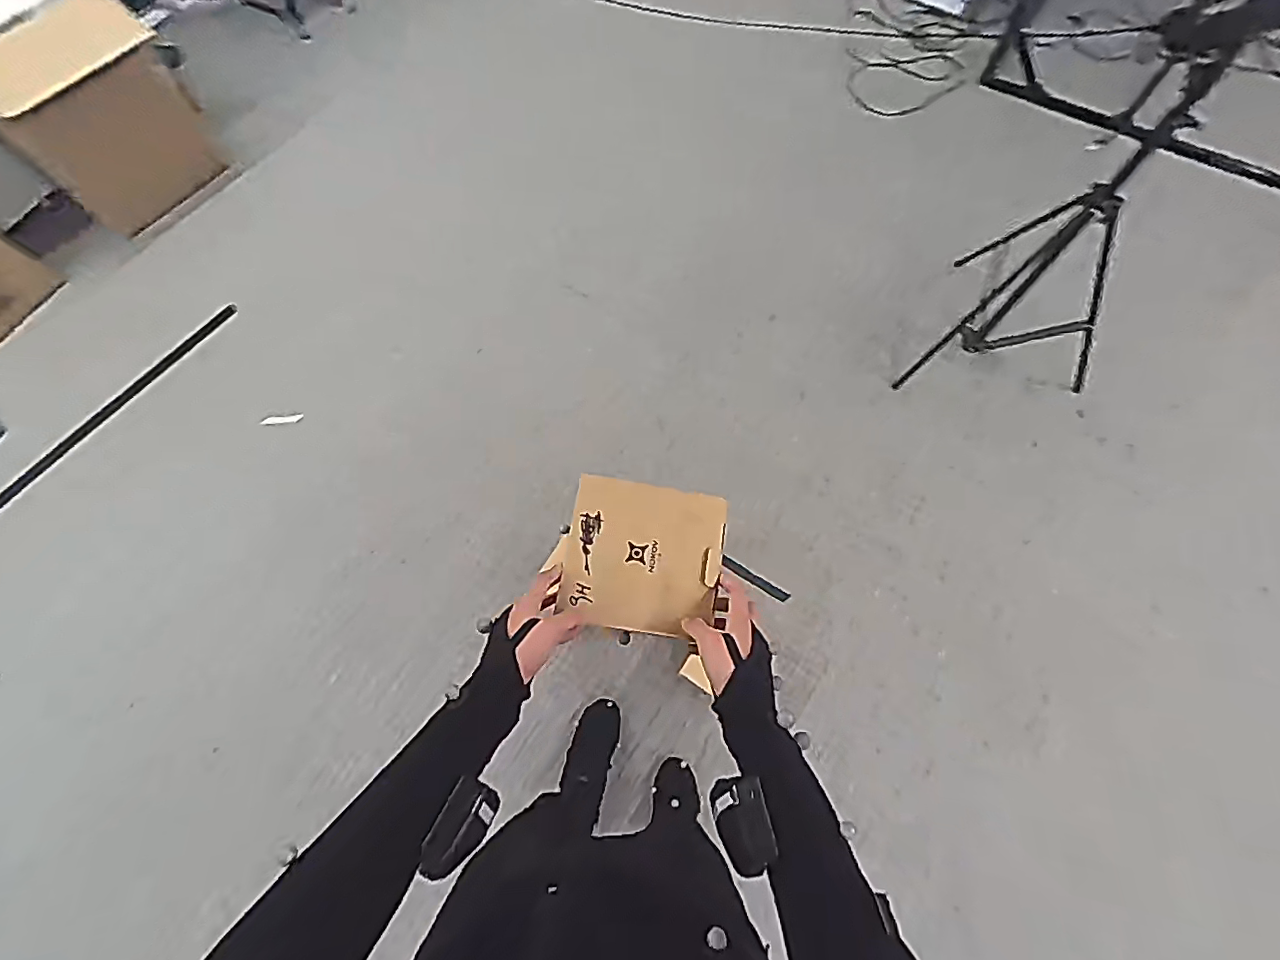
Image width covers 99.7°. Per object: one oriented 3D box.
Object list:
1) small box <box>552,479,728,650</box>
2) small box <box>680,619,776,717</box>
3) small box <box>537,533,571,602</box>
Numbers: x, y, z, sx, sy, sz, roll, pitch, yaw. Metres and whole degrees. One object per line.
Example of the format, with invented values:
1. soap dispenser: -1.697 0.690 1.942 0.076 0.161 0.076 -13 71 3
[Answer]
1. small box: -0.004 0.112 0.678 0.179 0.176 0.168 10 73 -2
2. small box: 0.215 0.484 1.383 0.179 0.176 0.168 34 73 14
3. small box: -0.125 0.241 1.321 0.168 0.176 0.179 28 71 14
